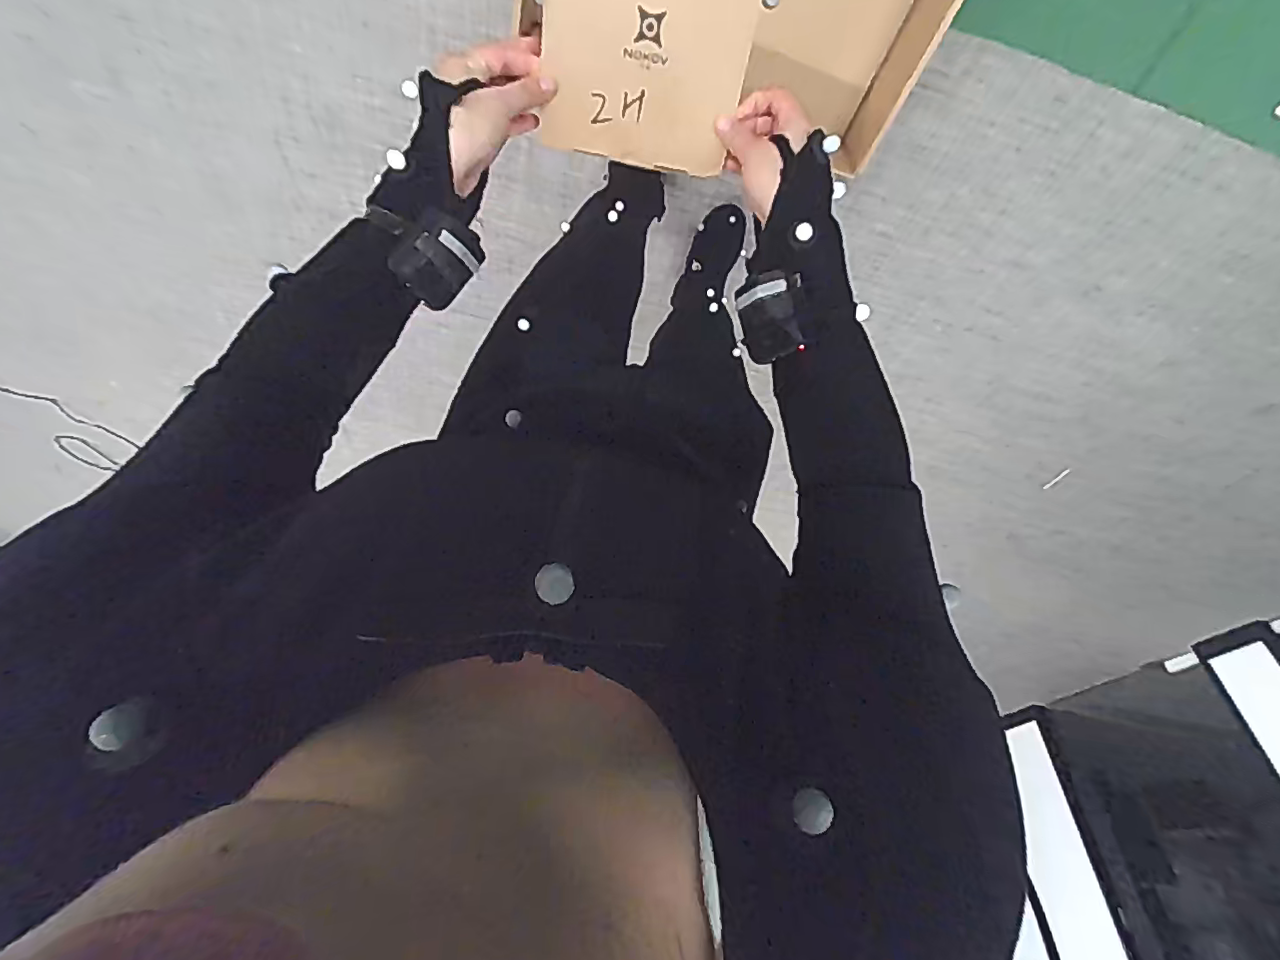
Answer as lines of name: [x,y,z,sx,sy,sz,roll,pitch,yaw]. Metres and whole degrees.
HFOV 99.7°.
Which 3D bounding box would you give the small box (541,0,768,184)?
small box: [0.014,-0.396,0.484,0.168,0.176,0.179,11,131,-3]
